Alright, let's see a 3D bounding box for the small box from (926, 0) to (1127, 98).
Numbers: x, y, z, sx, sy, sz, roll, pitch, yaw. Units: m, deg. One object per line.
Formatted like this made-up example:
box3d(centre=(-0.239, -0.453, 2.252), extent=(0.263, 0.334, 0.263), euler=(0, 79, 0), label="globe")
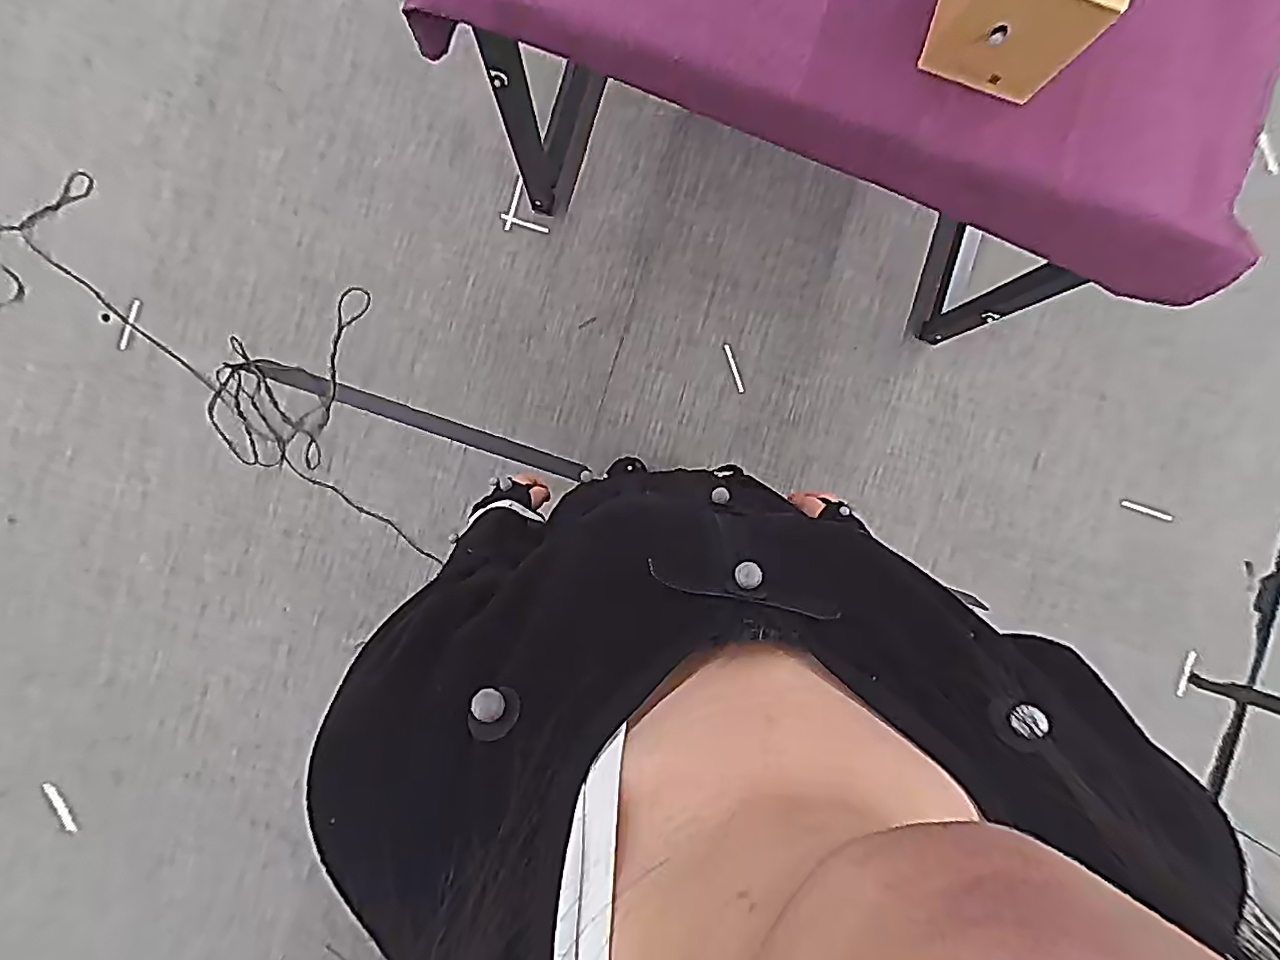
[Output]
box3d(centre=(0.508, -0.651, 0.703), extent=(0.168, 0.176, 0.179), euler=(18, 90, -2), label="small box")
